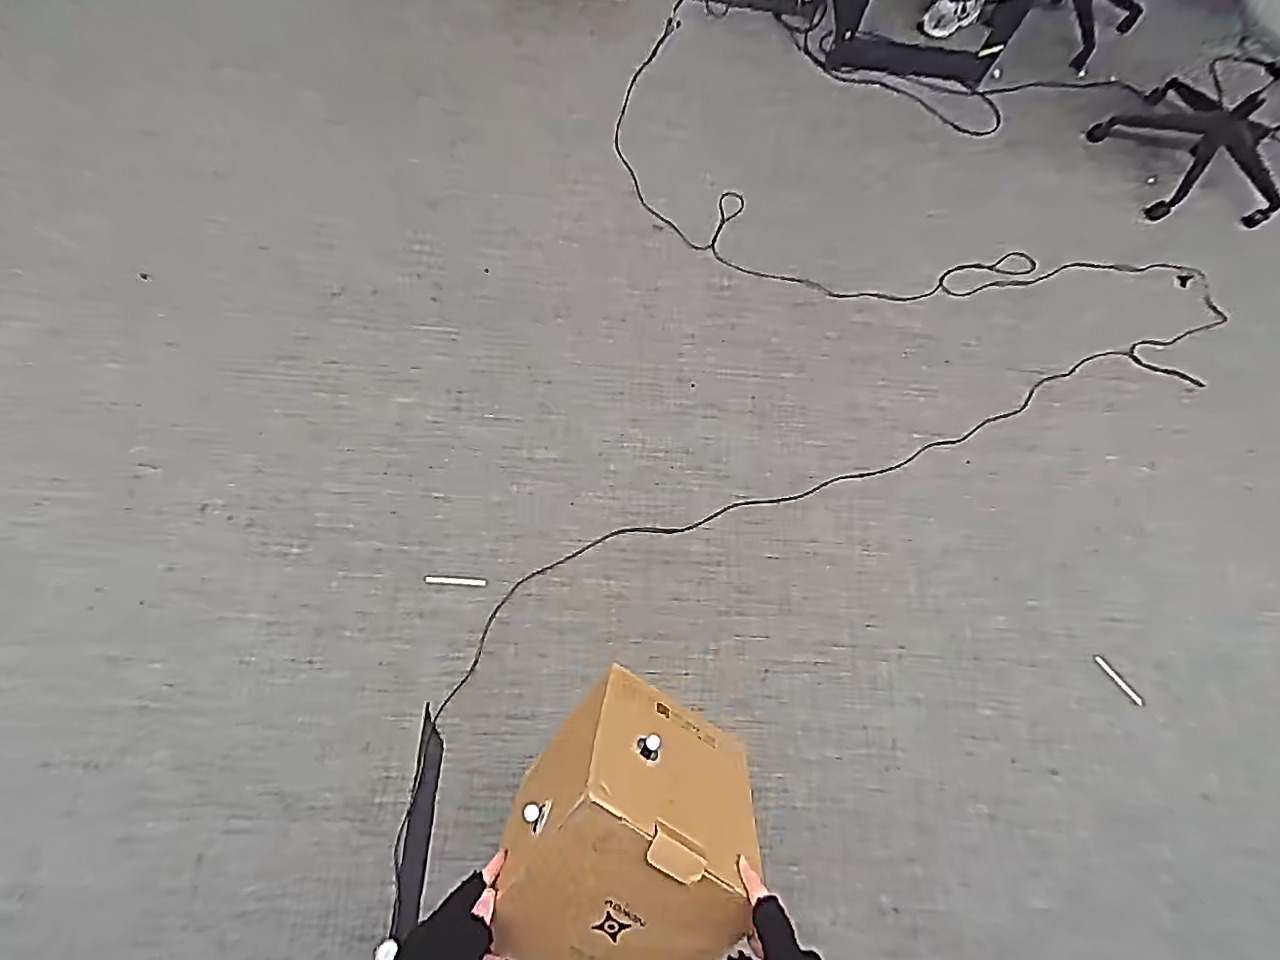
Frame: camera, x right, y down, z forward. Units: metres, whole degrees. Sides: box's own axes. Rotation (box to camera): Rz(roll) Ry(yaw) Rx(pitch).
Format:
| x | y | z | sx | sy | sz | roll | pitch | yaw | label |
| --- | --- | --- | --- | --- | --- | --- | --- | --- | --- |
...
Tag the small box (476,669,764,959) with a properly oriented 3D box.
| x | y | z | sx | sy | sz | roll | pitch | yaw | label |
| --- | --- | --- | --- | --- | --- | --- | --- | --- | --- |
| -0.014 | 0.314 | 0.499 | 0.168 | 0.176 | 0.179 | 36 | 104 | -4 | small box |
